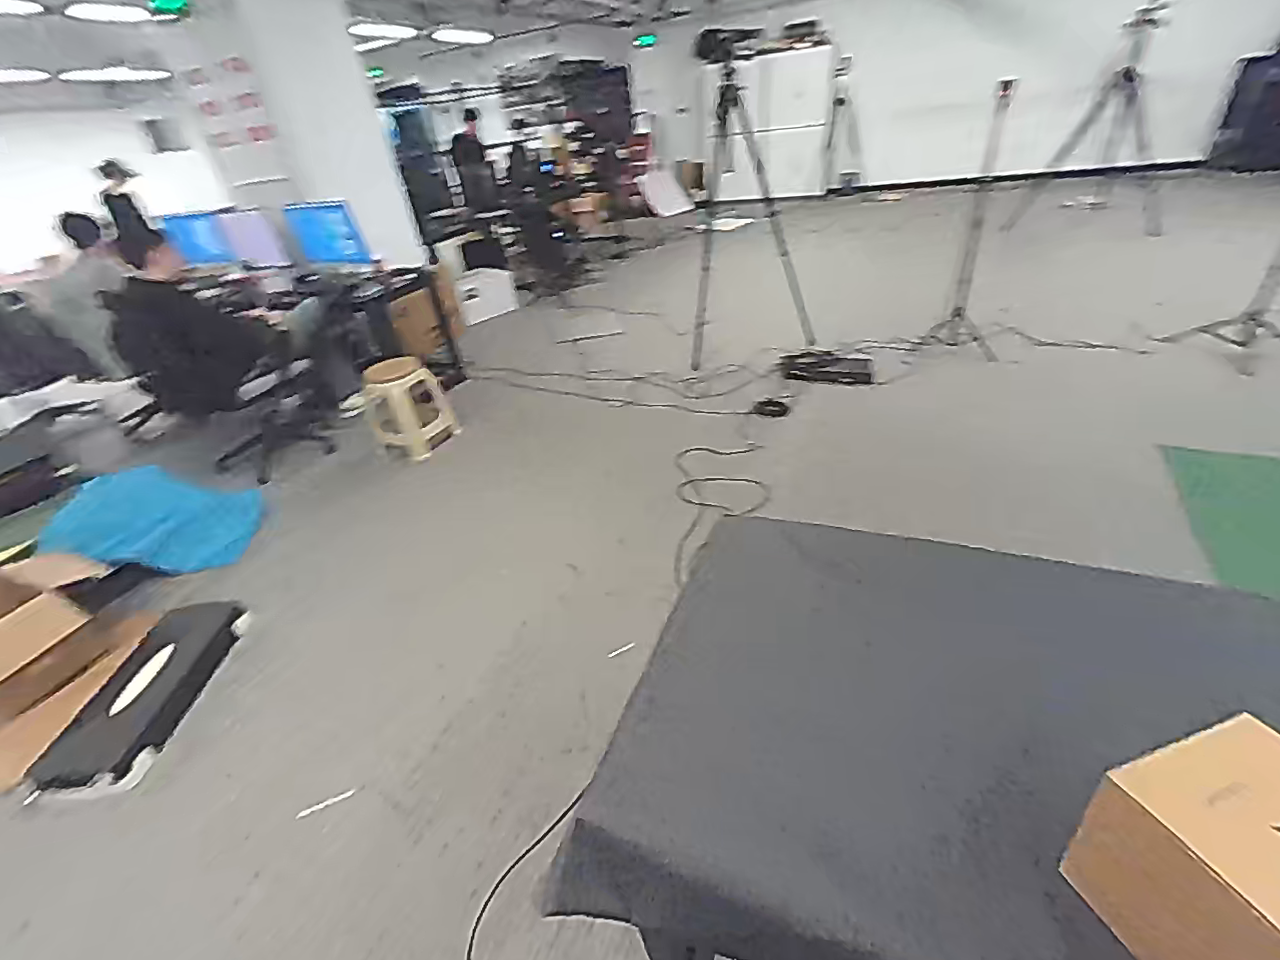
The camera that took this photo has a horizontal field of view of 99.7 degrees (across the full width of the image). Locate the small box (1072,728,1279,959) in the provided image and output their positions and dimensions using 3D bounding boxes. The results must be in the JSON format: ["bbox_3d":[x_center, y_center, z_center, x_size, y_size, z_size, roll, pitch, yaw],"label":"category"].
[{"bbox_3d":[0.508,0.347,0.435,0.168,0.176,0.179,-13,28,-9],"label":"small box"}]
